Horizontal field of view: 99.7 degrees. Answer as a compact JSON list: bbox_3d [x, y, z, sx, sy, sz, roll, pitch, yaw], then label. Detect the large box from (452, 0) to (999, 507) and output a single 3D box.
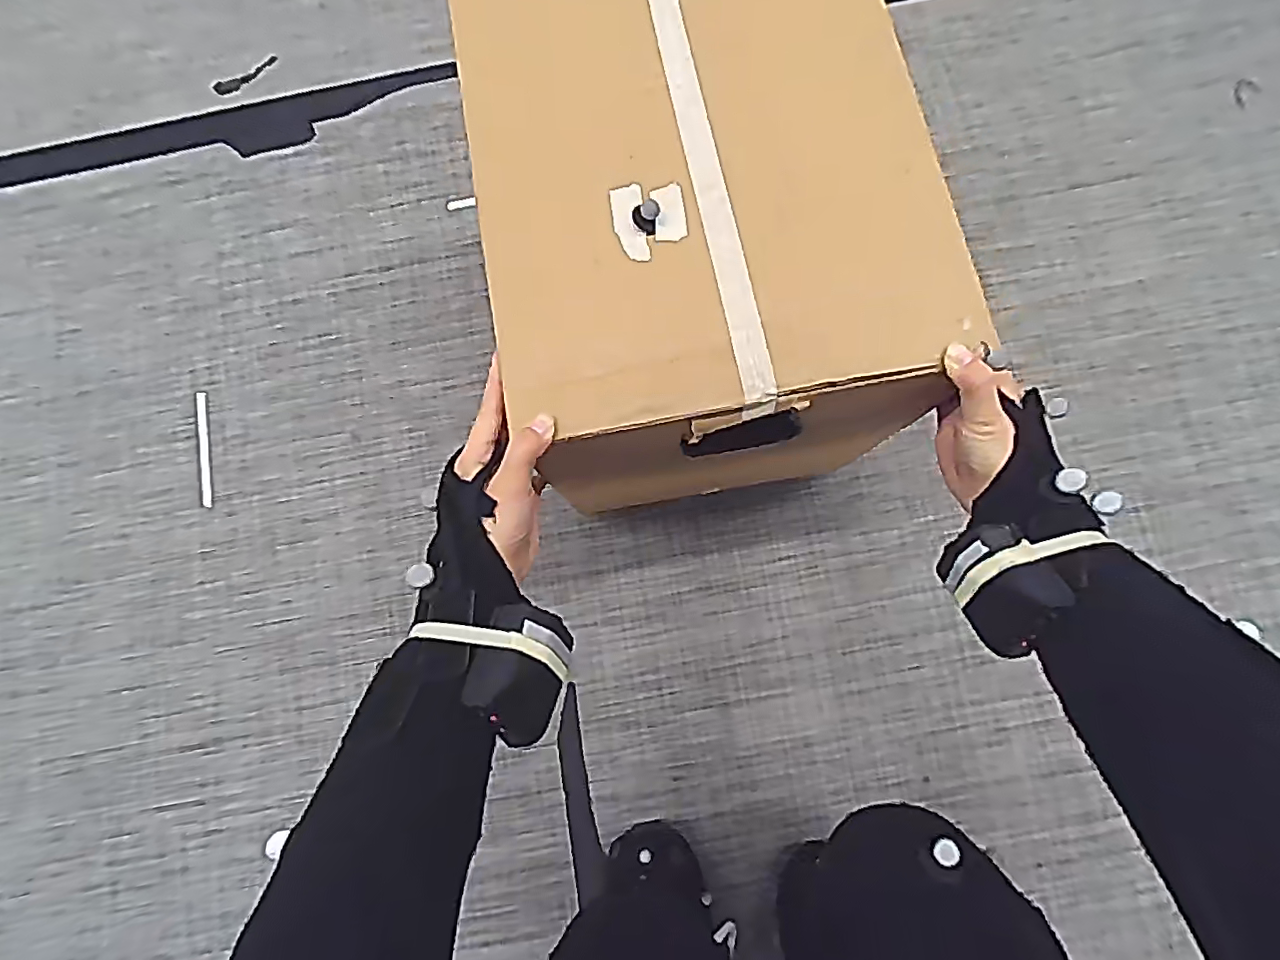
[{"bbox_3d":[0.044,-0.214,0.527,0.320,0.320,0.408,-11,79,0],"label":"large box"}]
